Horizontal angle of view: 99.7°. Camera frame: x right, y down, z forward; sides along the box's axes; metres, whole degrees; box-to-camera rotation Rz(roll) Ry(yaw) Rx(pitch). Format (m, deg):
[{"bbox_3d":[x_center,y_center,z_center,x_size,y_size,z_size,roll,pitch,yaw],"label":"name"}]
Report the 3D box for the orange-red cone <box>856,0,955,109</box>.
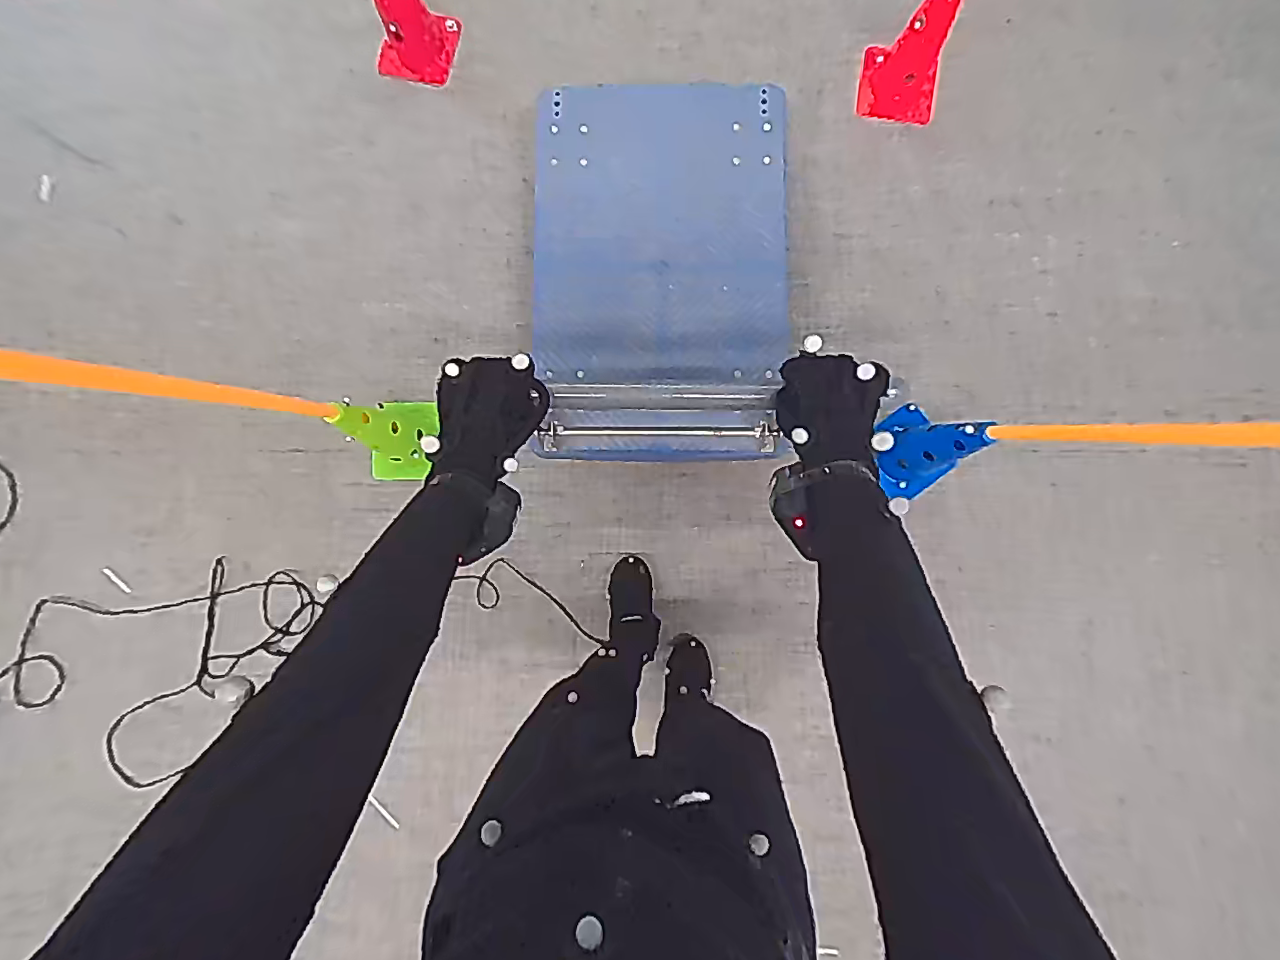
[{"bbox_3d":[0.663,-1.074,1.232,0.198,0.360,0.199,11,88,3],"label":"orange-red cone"}]
